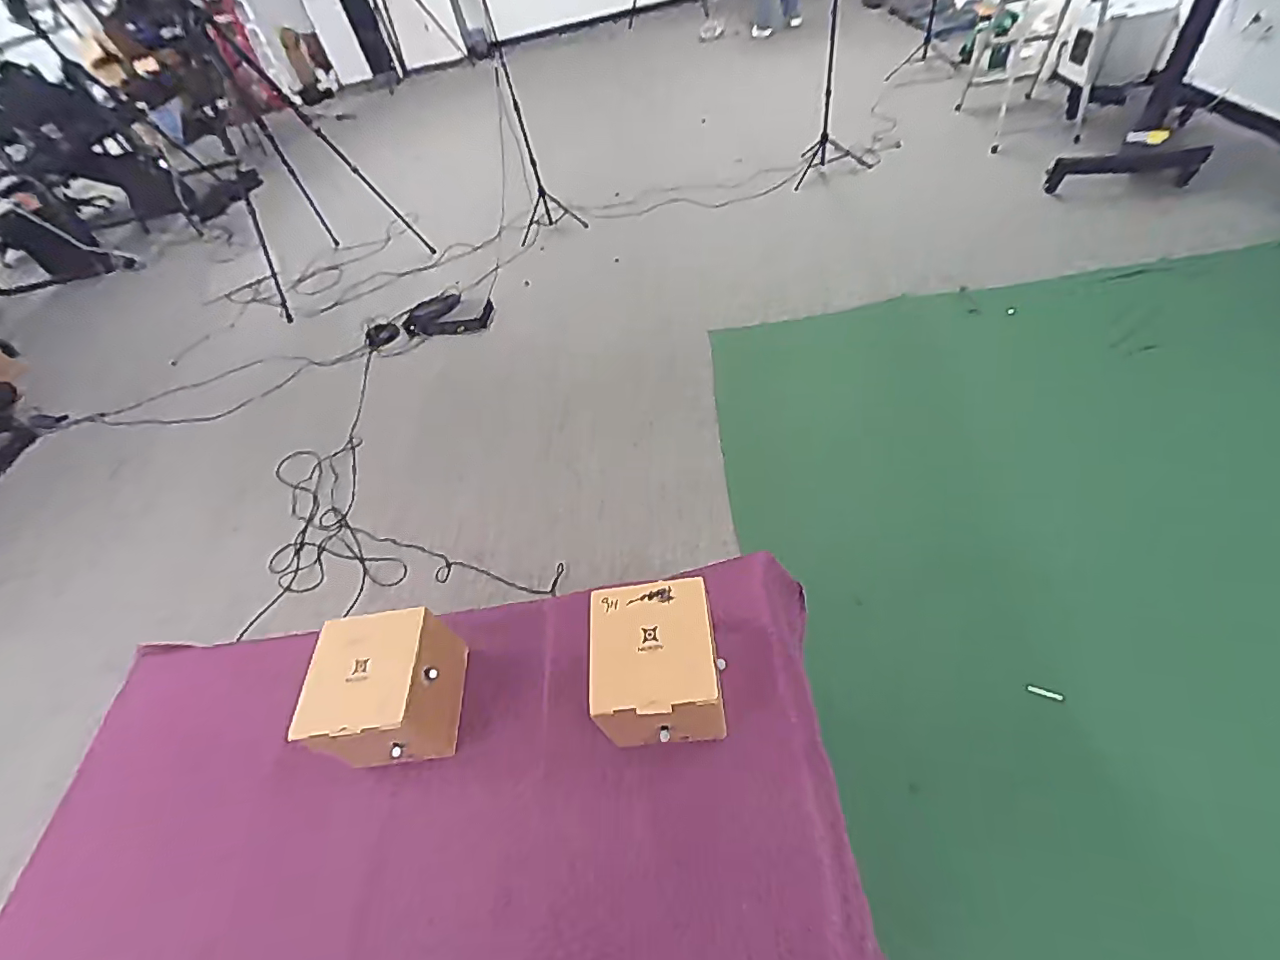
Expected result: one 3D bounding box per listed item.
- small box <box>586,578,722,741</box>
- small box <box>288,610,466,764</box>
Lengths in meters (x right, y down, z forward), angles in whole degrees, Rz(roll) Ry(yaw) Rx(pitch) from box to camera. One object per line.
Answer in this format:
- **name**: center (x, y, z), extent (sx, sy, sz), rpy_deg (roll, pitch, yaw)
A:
- **small box**: center (0.023, 0.266, 0.782), extent (0.168, 0.176, 0.179), rpy_deg (-9, 50, 6)
- **small box**: center (-0.386, 0.325, 0.833), extent (0.168, 0.176, 0.179), rpy_deg (-9, 50, 5)
